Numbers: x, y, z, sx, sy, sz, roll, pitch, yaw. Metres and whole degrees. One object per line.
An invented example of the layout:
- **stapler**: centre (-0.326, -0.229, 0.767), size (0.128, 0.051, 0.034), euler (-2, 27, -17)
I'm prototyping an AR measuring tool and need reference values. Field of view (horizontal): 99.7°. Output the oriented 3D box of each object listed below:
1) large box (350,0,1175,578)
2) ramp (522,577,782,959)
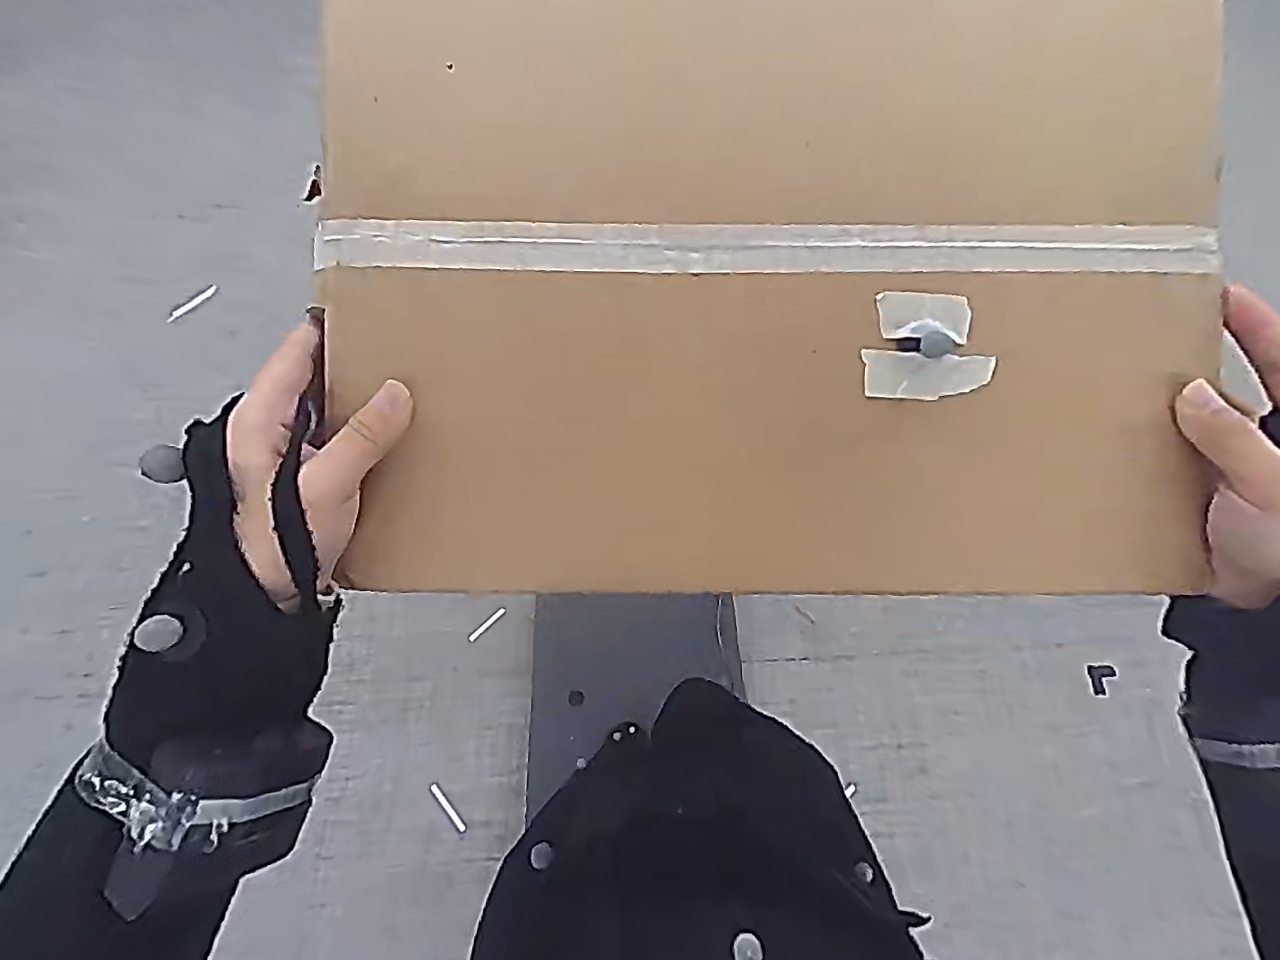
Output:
- **large box**: centre (0.056, -0.111, 0.412), size (0.408, 0.320, 0.320), euler (0, 92, -1)
- **ramp**: centre (0.011, 0.689, 1.128), size (0.509, 0.206, 0.991), euler (-4, 70, -1)
